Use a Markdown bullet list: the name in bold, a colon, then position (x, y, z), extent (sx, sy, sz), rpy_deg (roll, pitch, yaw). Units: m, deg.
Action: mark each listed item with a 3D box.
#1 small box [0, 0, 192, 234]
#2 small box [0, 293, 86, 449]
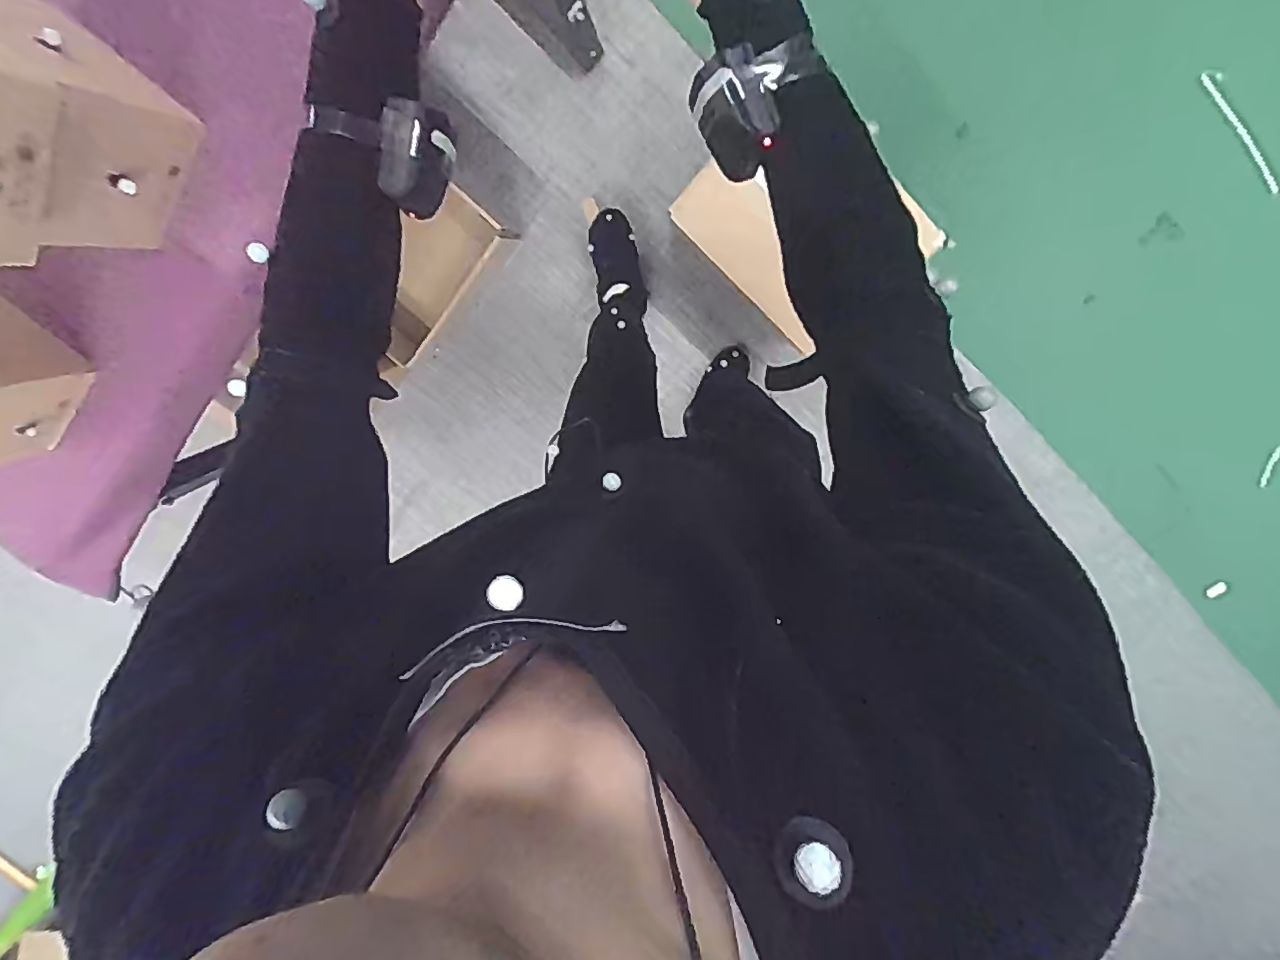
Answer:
- **small box**: position (-0.603, -0.367, 0.529), extent (0.179, 0.176, 0.168), rpy_deg (38, 109, -11)
- **small box**: position (-0.845, -0.133, 0.641), extent (0.179, 0.176, 0.168), rpy_deg (43, 108, -13)
